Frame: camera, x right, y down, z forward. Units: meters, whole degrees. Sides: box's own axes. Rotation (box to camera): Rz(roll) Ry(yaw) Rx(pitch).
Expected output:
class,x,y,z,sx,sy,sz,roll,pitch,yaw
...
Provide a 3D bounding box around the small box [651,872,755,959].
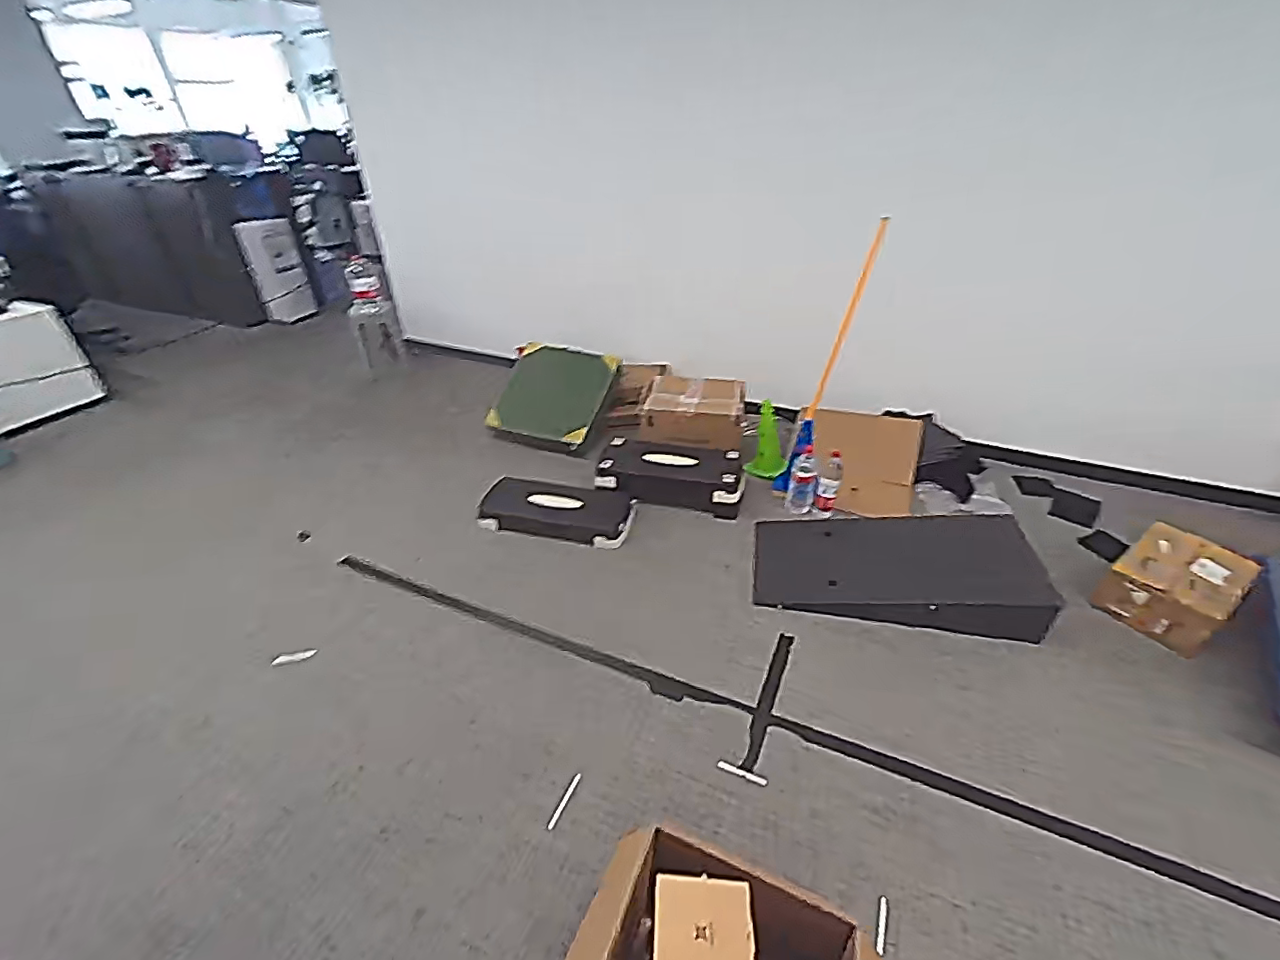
class,x,y,z,sx,sy,sz,roll,pitch,yaw
small box,0.110,0.858,1.000,0.179,0.176,0.168,5,37,1
